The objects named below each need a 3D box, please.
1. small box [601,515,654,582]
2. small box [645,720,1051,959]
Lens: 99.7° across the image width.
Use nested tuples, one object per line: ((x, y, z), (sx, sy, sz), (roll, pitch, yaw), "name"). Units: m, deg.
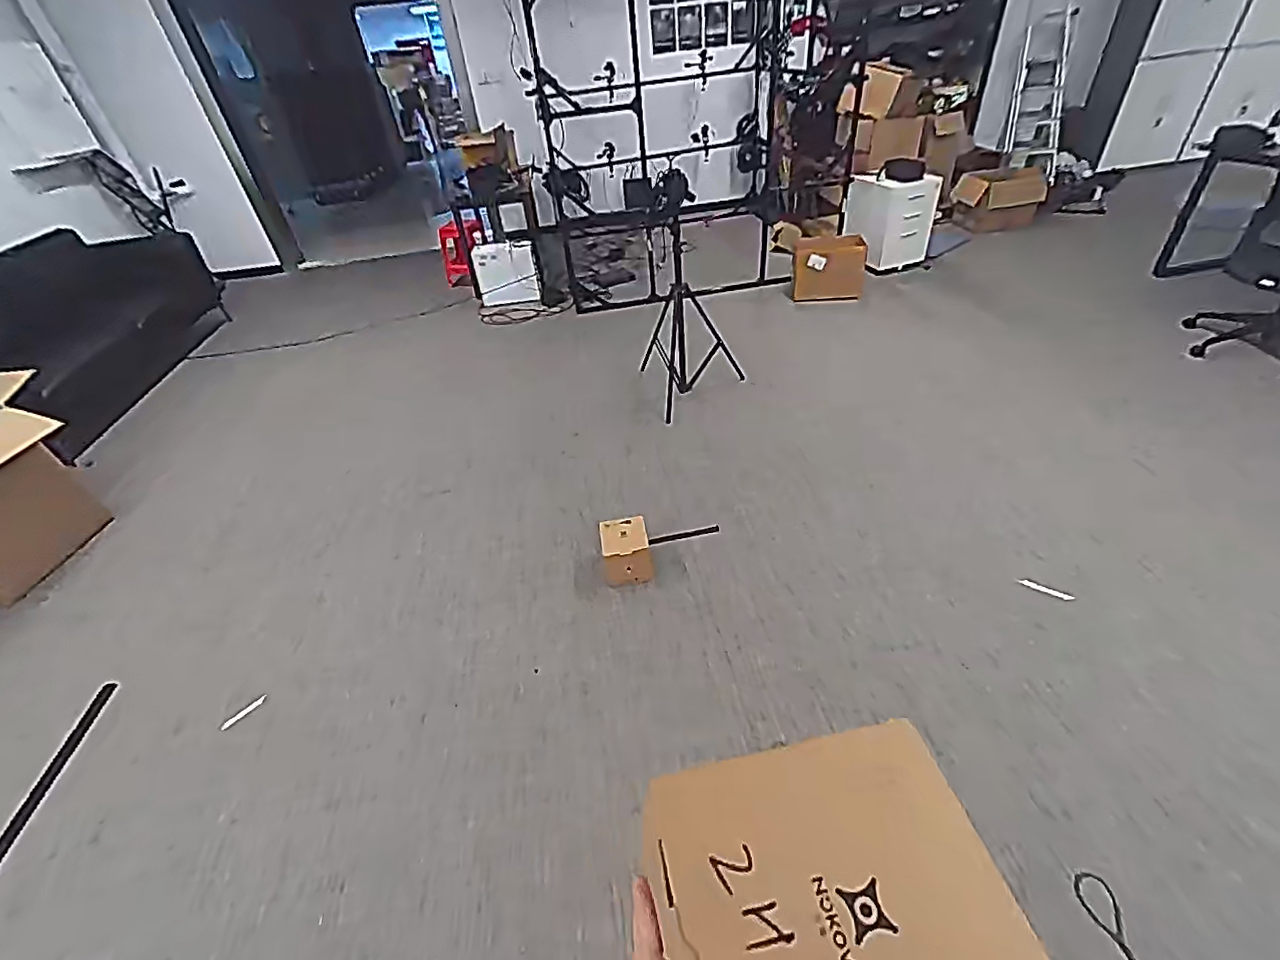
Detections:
((-0.046, 0.257, 1.980), (0.168, 0.176, 0.179), (-9, 40, -2), "small box")
((0.105, 0.275, 0.330), (0.179, 0.176, 0.168), (-8, 45, -10), "small box")
